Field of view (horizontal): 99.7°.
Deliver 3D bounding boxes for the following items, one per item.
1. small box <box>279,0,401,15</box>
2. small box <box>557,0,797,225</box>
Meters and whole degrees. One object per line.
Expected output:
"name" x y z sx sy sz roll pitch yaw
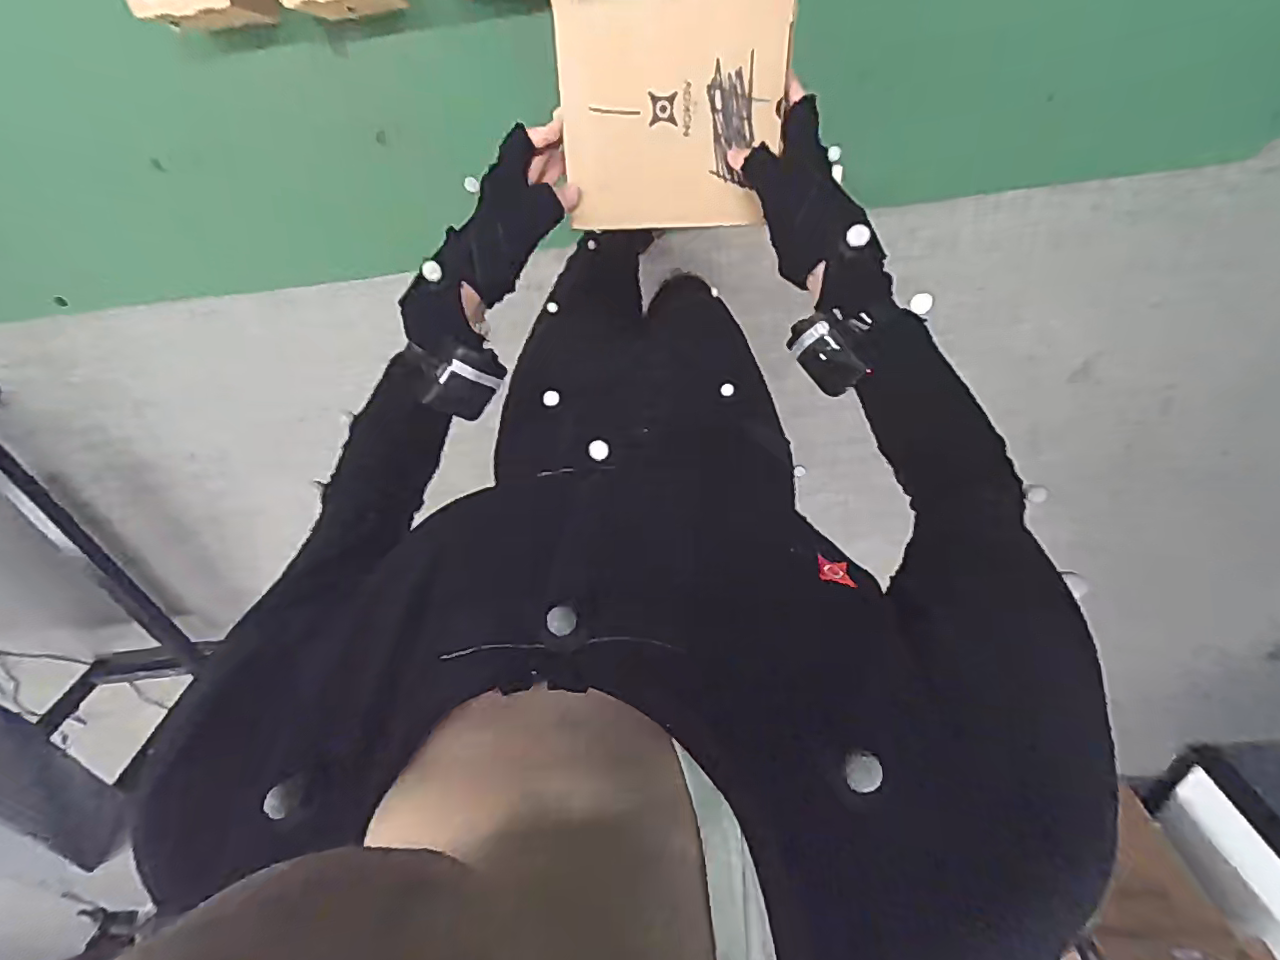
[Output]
"small box" -0.525 -0.905 0.896 0.168 0.176 0.179 -7 126 3
"small box" 0.024 -0.329 0.489 0.179 0.176 0.168 -1 120 -1
